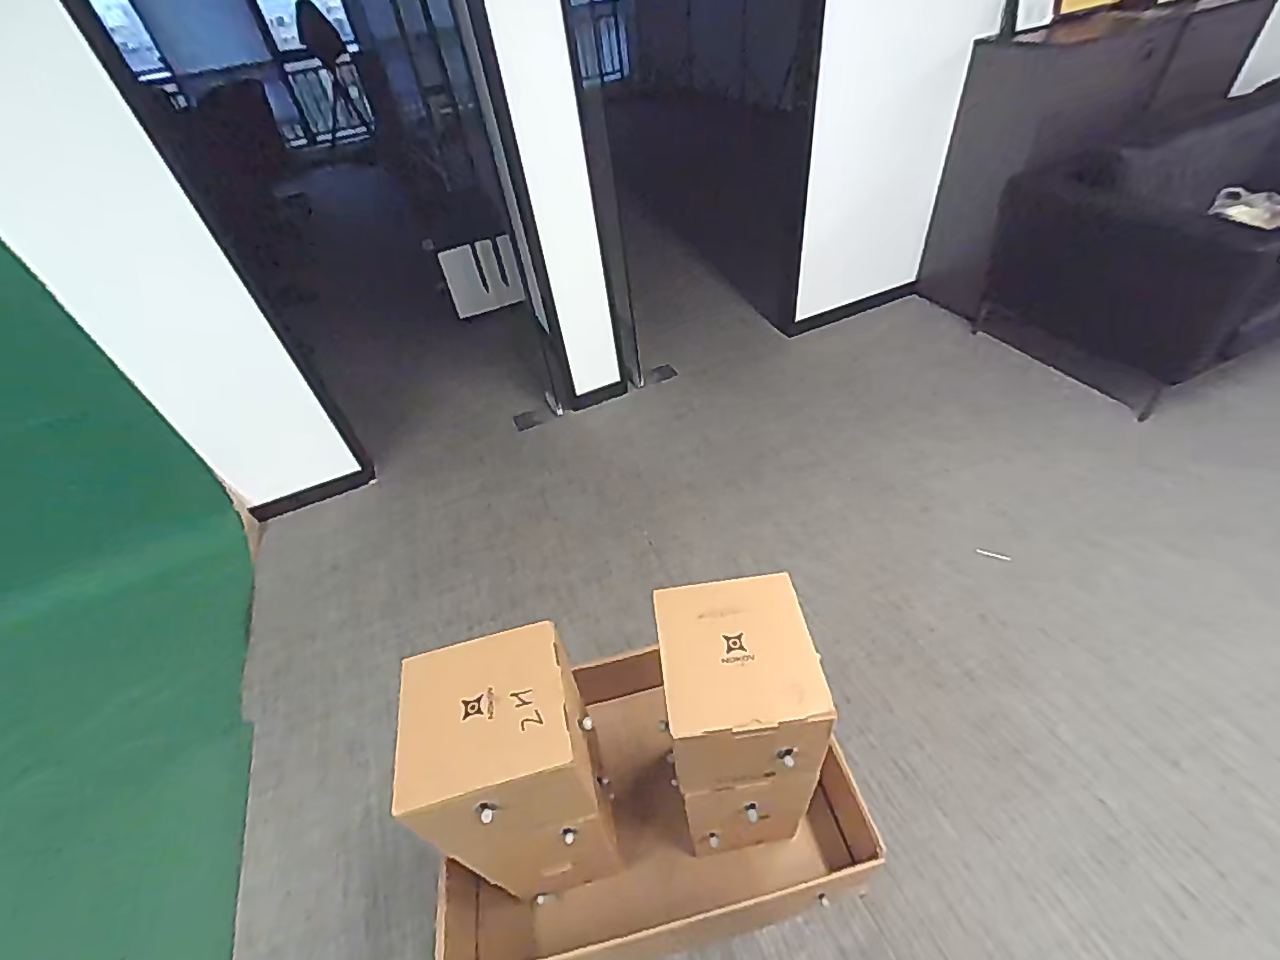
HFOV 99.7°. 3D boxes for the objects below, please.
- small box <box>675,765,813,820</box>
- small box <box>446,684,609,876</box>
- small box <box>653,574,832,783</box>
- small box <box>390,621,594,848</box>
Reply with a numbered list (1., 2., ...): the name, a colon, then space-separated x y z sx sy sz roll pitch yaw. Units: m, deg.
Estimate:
1. small box: 0.127 0.355 0.754 0.168 0.176 0.179 -8 45 -1
2. small box: -0.149 0.411 0.740 0.179 0.176 0.168 -12 44 -7
3. small box: 0.110 0.239 0.640 0.168 0.176 0.179 -7 43 0
4. small box: -0.161 0.294 0.624 0.179 0.176 0.168 -13 45 -7
